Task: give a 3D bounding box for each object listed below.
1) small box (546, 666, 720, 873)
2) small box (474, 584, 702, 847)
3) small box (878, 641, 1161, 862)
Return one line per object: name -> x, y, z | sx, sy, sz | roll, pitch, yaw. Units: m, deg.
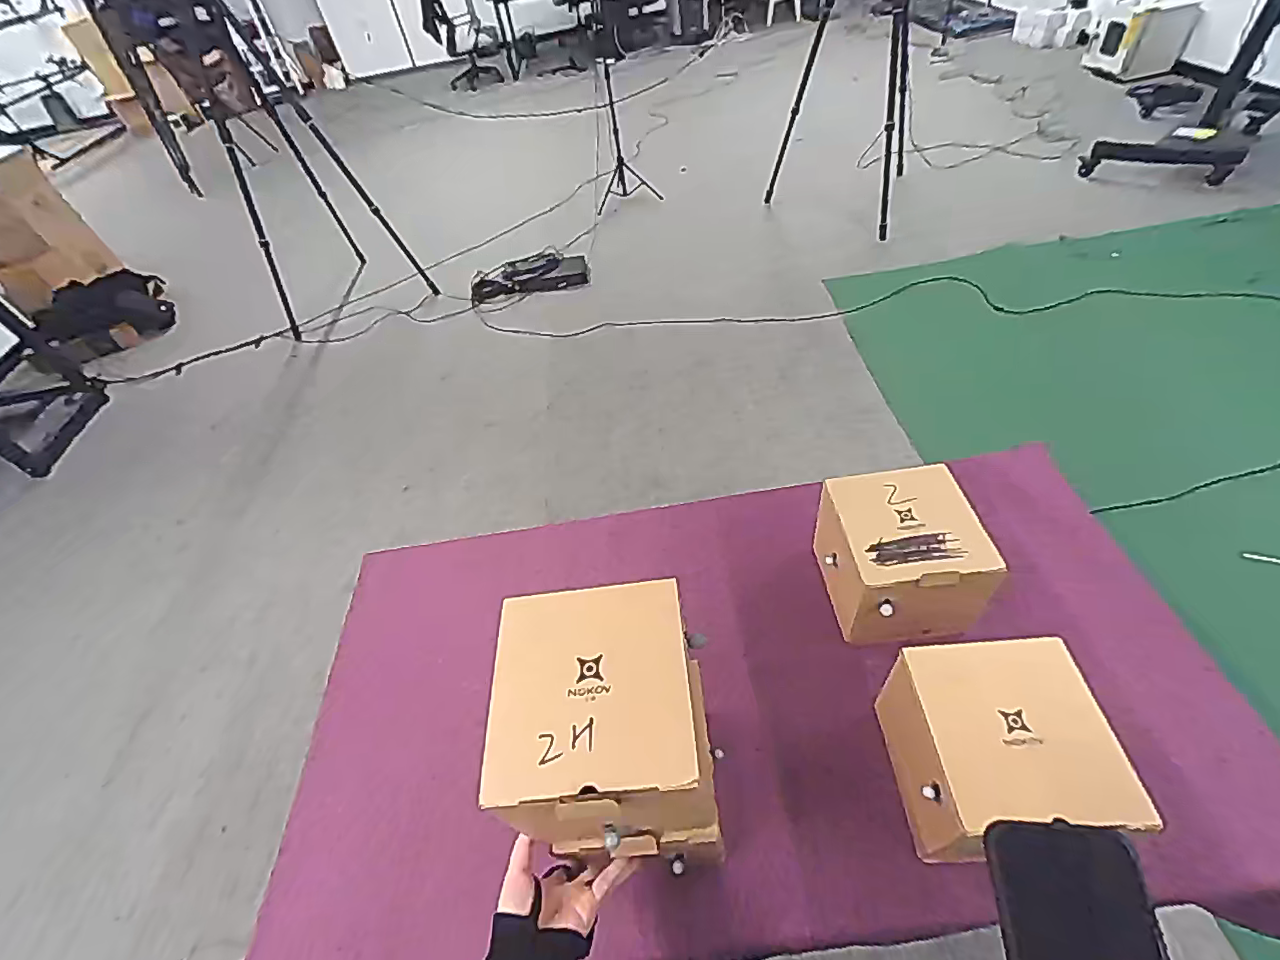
small box -> -0.001, 0.337, 0.621 | 0.168, 0.176, 0.179 | -7, 47, 4
small box -> -0.035, 0.221, 0.506 | 0.168, 0.176, 0.179 | -7, 48, 4
small box -> 0.375, 0.294, 0.583 | 0.168, 0.176, 0.179 | -6, 49, 6
